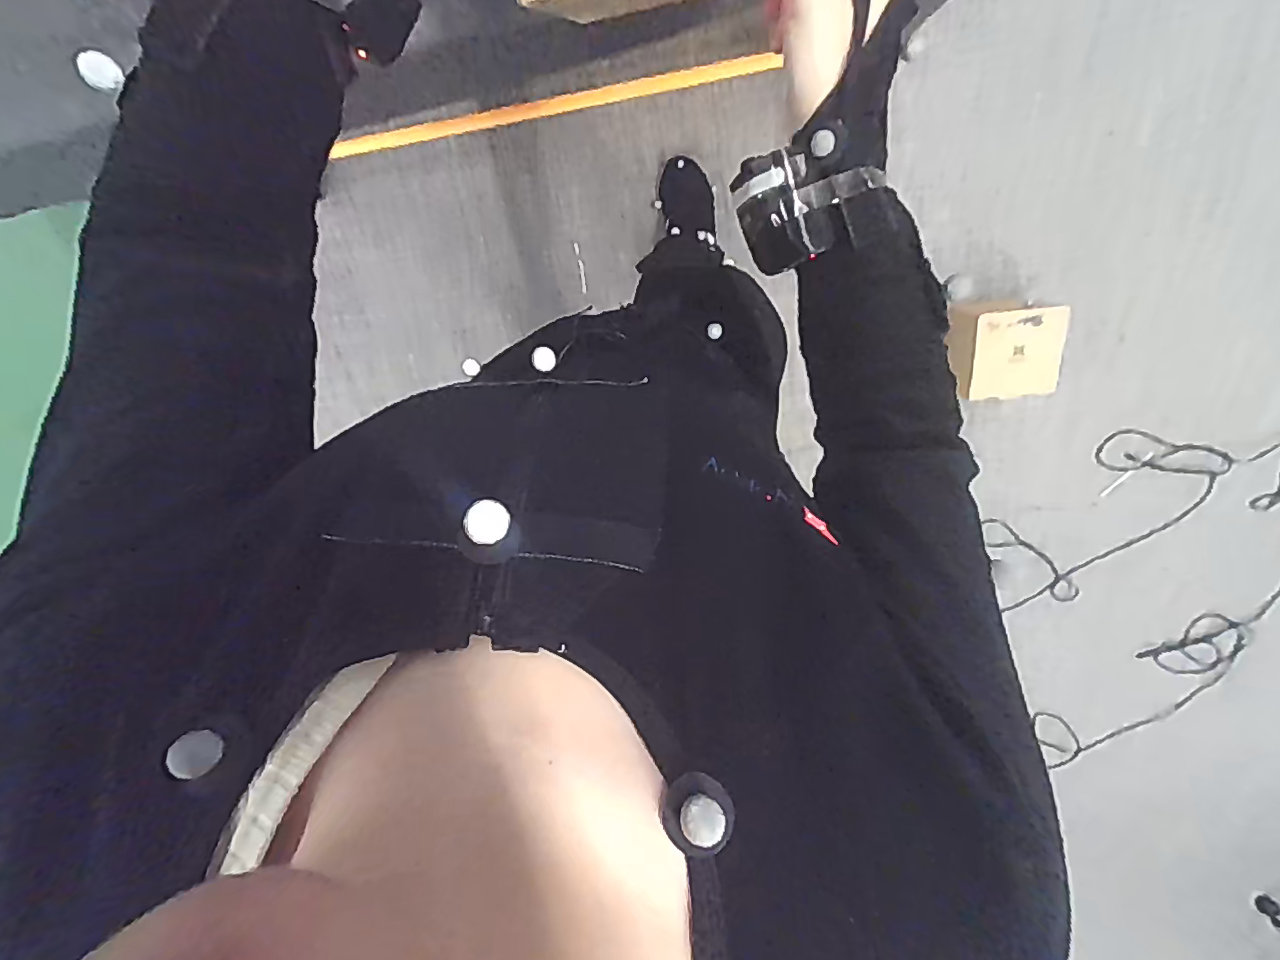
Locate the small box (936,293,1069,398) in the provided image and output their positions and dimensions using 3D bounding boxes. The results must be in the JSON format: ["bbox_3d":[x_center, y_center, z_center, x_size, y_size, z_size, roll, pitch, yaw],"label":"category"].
[{"bbox_3d":[0.747,-0.286,1.138,0.168,0.176,0.179,-4,115,7],"label":"small box"}]
